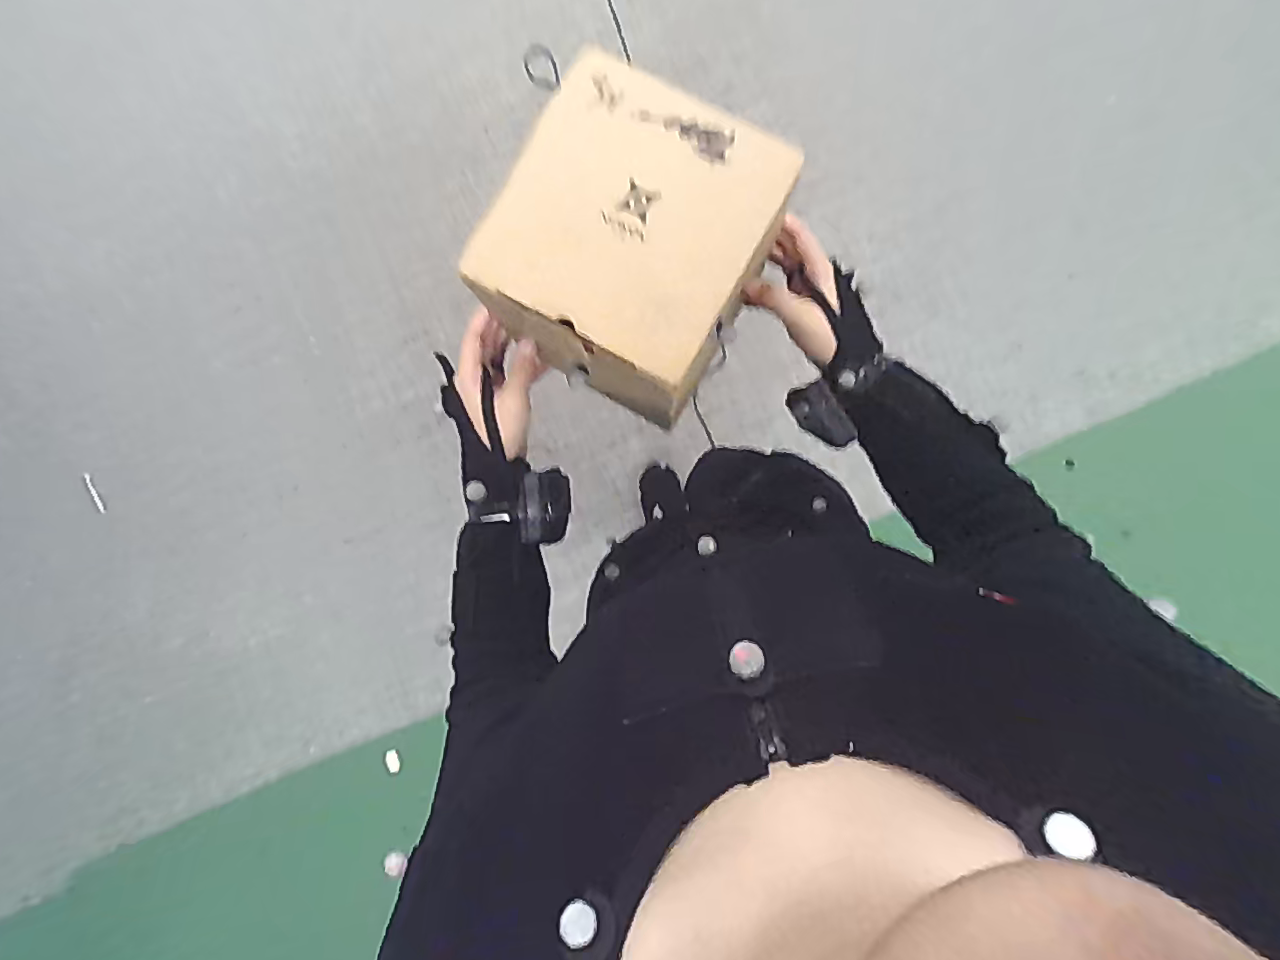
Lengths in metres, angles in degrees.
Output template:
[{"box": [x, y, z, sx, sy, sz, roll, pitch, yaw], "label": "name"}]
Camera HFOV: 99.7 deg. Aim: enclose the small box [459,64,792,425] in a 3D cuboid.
[{"box": [-0.005, -0.163, 0.435, 0.168, 0.176, 0.179, 30, 88, 5], "label": "small box"}]
